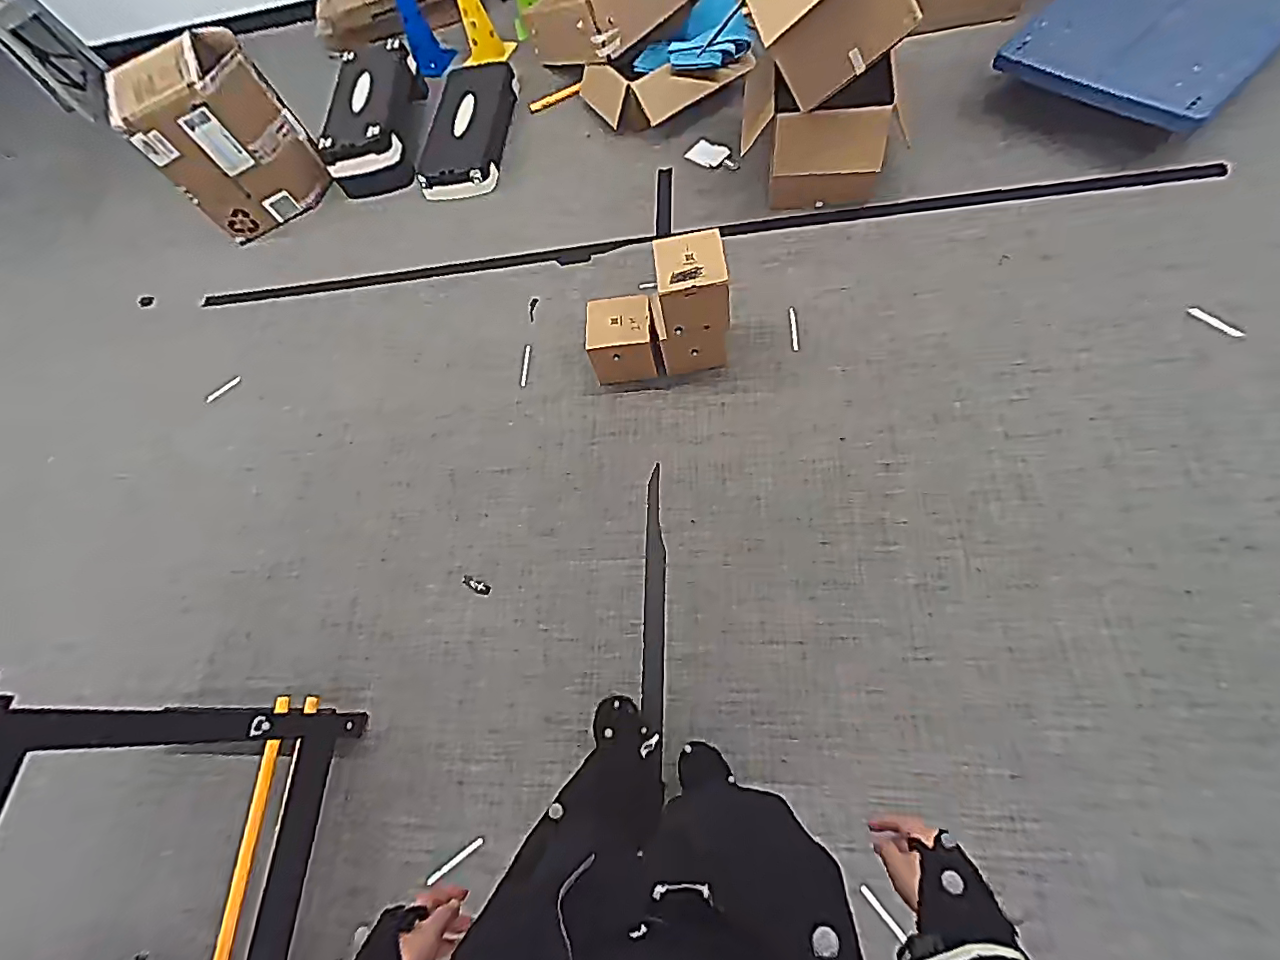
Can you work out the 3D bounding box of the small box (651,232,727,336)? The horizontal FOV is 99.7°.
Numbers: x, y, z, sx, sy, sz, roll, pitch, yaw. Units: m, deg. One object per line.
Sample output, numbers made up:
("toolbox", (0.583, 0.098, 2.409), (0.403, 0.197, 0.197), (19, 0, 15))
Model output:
("small box", (0.126, -0.482, 1.358), (0.168, 0.176, 0.179), (-8, 64, 7))
